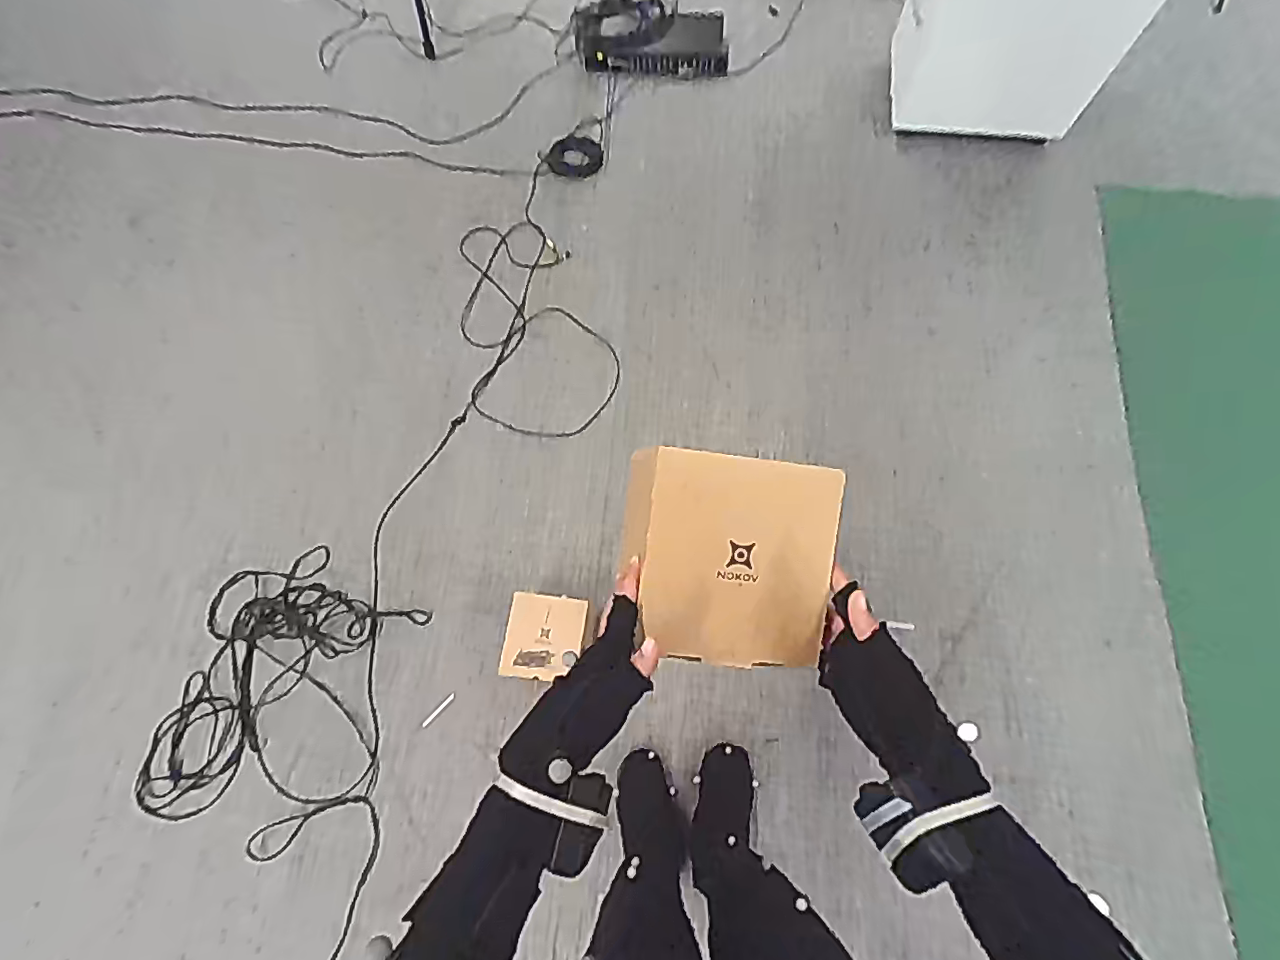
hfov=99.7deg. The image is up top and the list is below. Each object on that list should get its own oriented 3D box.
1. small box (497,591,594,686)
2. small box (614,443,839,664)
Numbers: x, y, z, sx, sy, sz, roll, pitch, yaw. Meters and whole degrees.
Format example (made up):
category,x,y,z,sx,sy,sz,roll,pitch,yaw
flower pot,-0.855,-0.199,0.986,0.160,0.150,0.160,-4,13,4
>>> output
category,x,y,z,sx,sy,sz,roll,pitch,yaw
small box,-0.204,0.360,1.221,0.168,0.176,0.179,7,71,4
small box,0.071,0.061,0.536,0.168,0.176,0.179,7,92,-9
